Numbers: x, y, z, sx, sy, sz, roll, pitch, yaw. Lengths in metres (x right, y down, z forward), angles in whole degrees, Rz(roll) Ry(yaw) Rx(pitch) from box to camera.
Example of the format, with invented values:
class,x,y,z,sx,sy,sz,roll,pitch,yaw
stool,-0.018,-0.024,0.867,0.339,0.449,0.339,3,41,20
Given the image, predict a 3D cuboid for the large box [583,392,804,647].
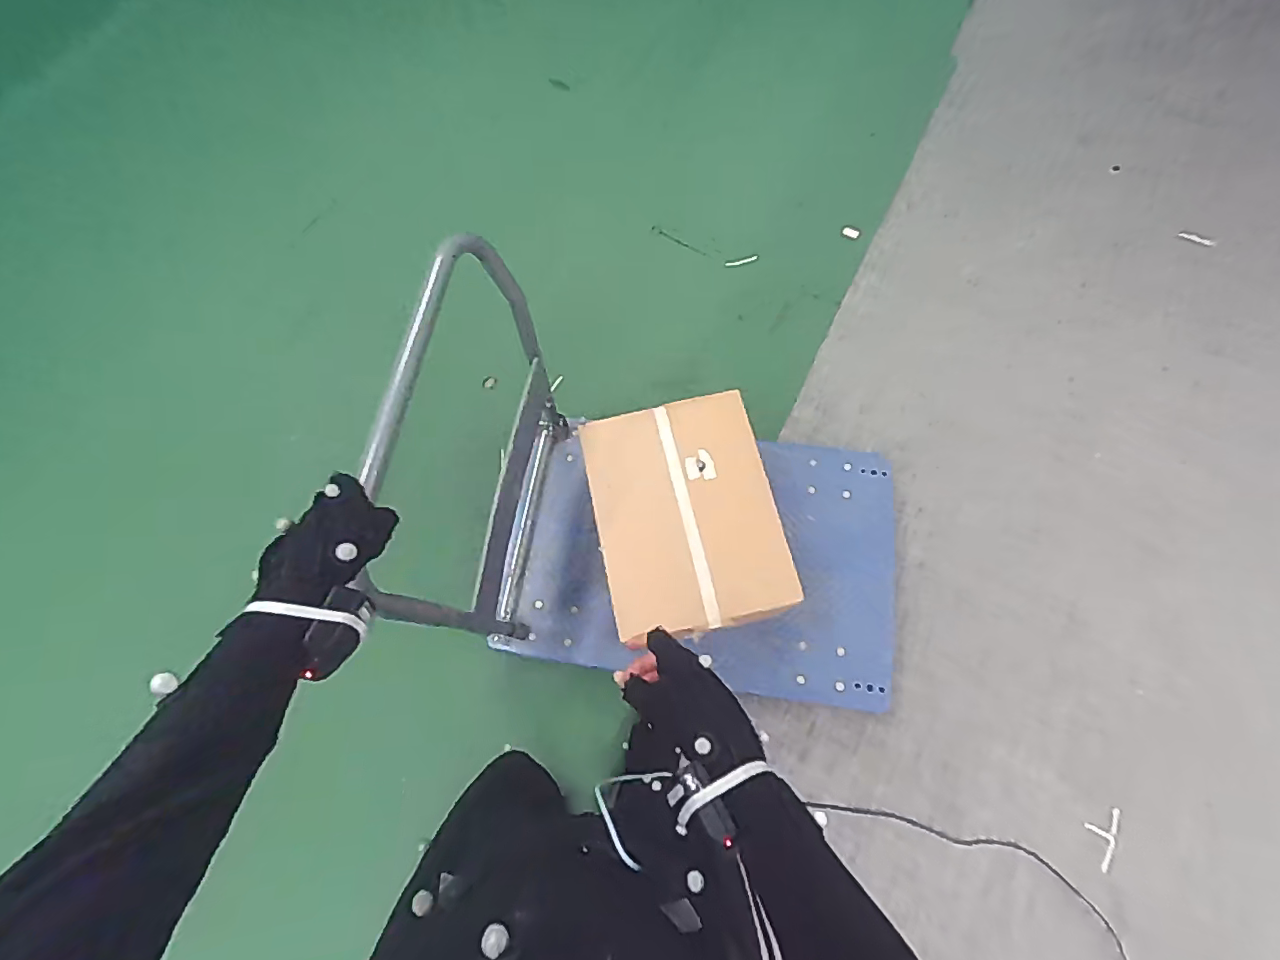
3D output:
class,x,y,z,sx,sy,sz,roll,pitch,yaw
large box,0.092,0.097,1.092,0.320,0.320,0.408,-12,70,-2
